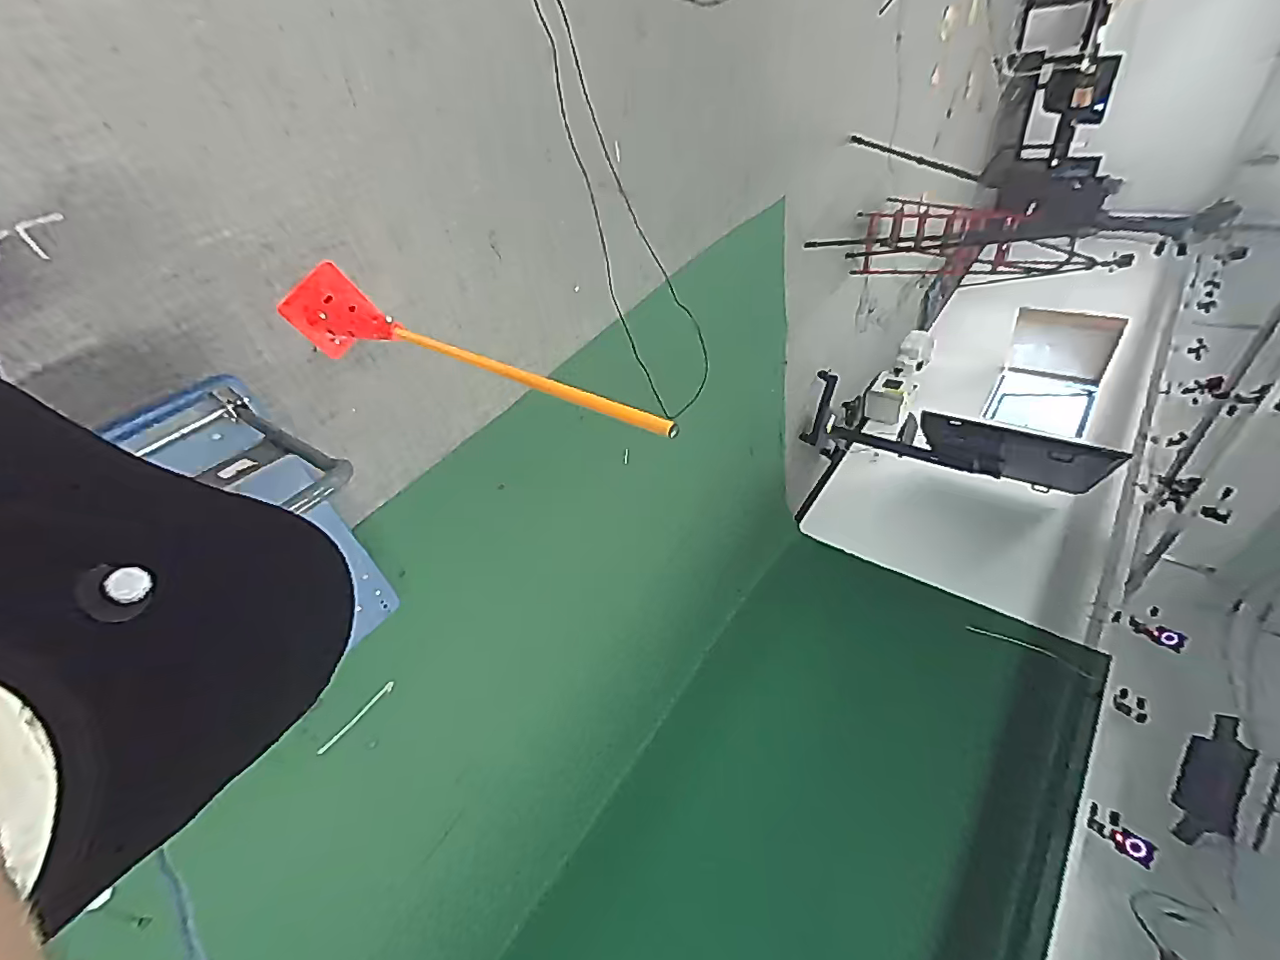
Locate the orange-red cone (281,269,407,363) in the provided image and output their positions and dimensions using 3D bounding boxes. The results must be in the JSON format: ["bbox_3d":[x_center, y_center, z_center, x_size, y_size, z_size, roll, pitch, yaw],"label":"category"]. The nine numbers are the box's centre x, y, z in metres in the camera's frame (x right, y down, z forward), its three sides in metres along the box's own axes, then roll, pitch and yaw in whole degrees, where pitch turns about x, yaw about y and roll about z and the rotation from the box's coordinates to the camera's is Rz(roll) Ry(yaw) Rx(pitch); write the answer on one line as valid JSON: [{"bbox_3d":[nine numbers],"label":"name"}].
[{"bbox_3d":[-0.722,-0.401,1.406,0.199,0.360,0.198,-57,146,-19],"label":"orange-red cone"}]
